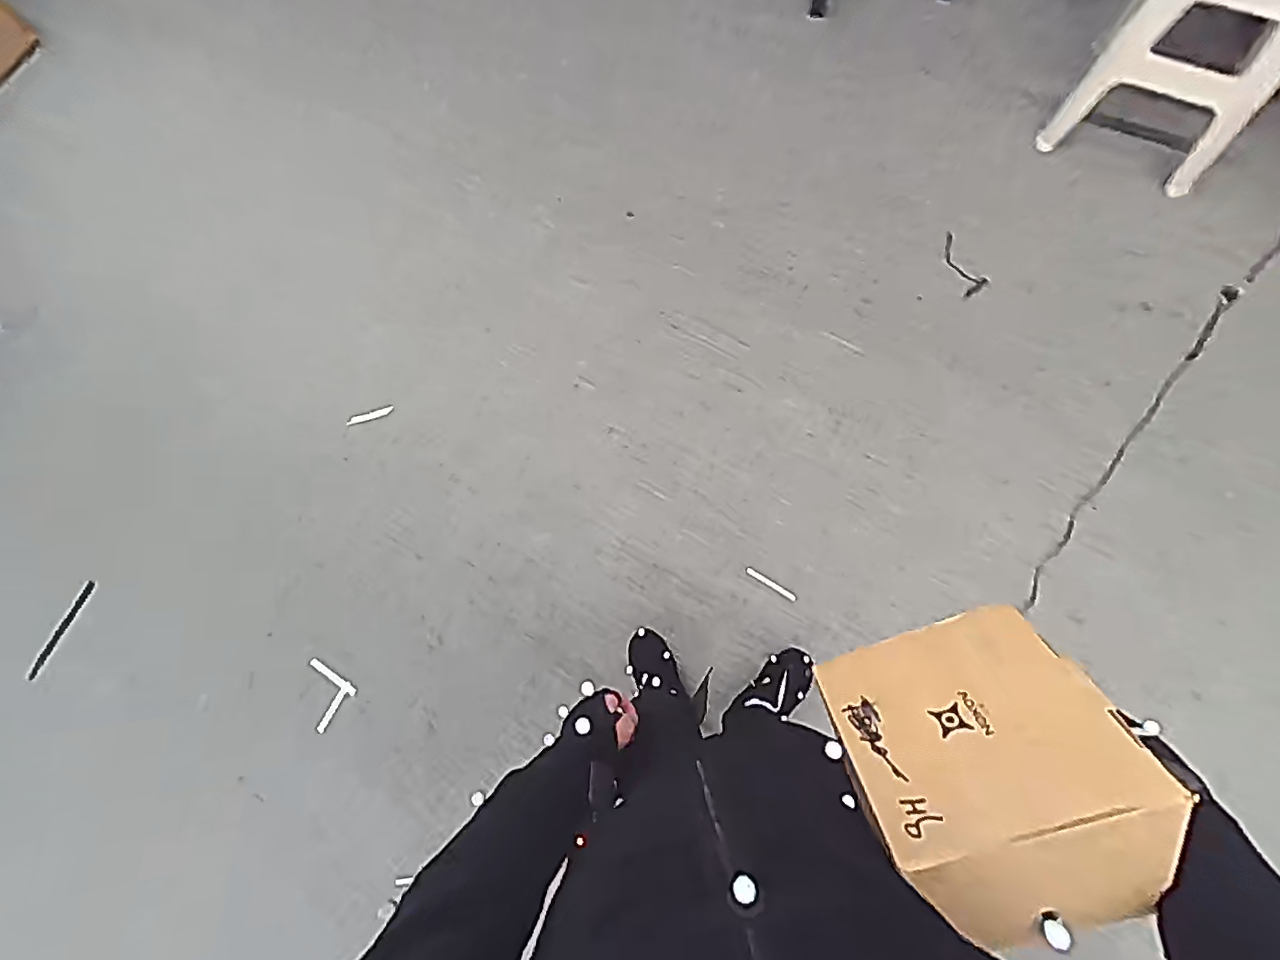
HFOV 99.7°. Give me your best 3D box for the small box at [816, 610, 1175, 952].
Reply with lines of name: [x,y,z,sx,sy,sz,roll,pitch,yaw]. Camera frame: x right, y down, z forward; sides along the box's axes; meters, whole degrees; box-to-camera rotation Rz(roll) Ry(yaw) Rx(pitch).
small box: [0.272,0.246,0.448,0.179,0.168,0.176,-22,119,8]
